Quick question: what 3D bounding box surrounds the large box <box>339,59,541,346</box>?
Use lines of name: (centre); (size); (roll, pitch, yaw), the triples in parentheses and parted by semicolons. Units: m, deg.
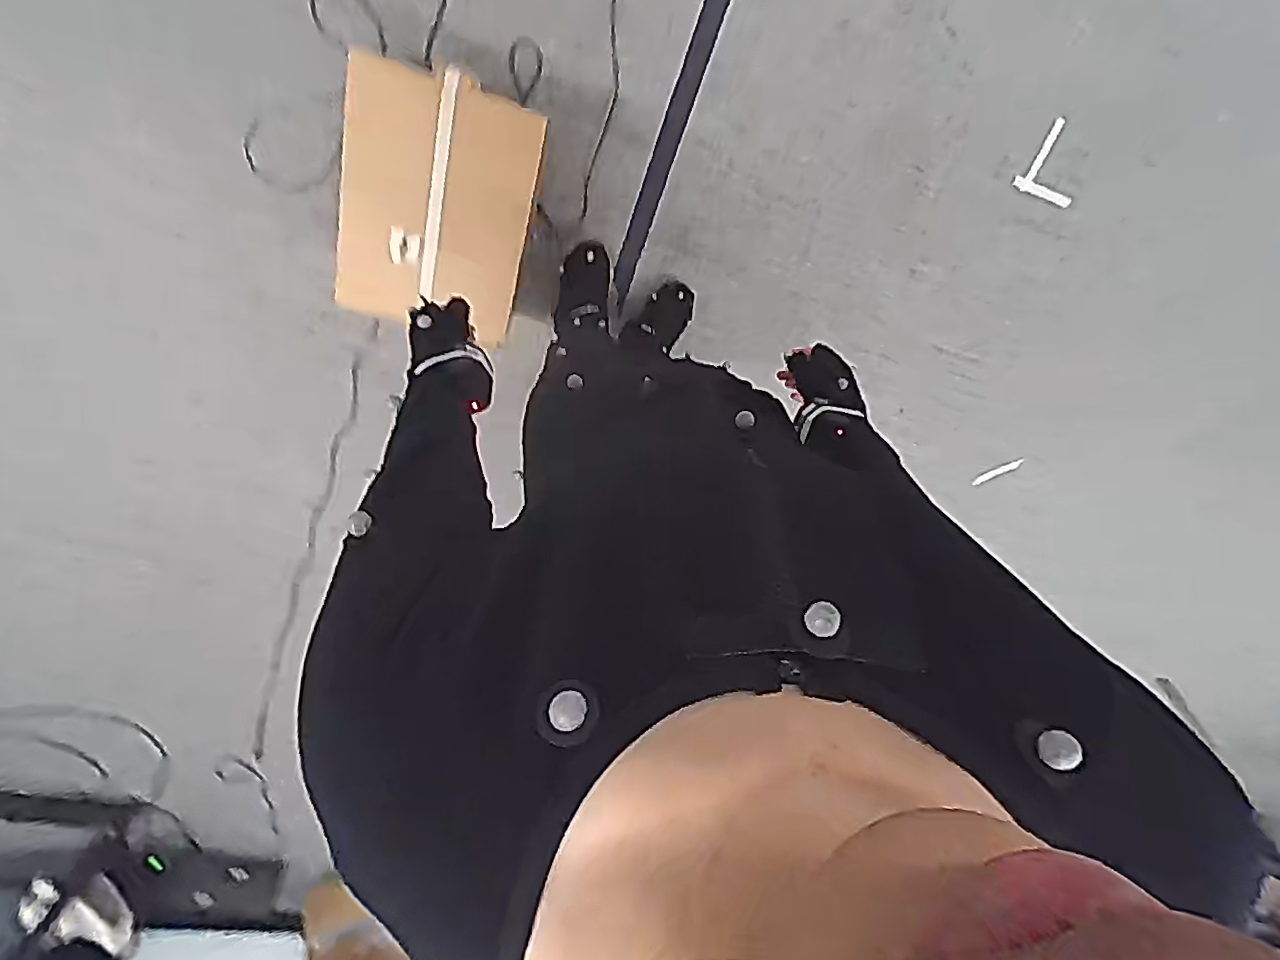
large box: (-0.389, -0.540, 1.098); (0.320, 0.320, 0.408); (12, 116, -14)
